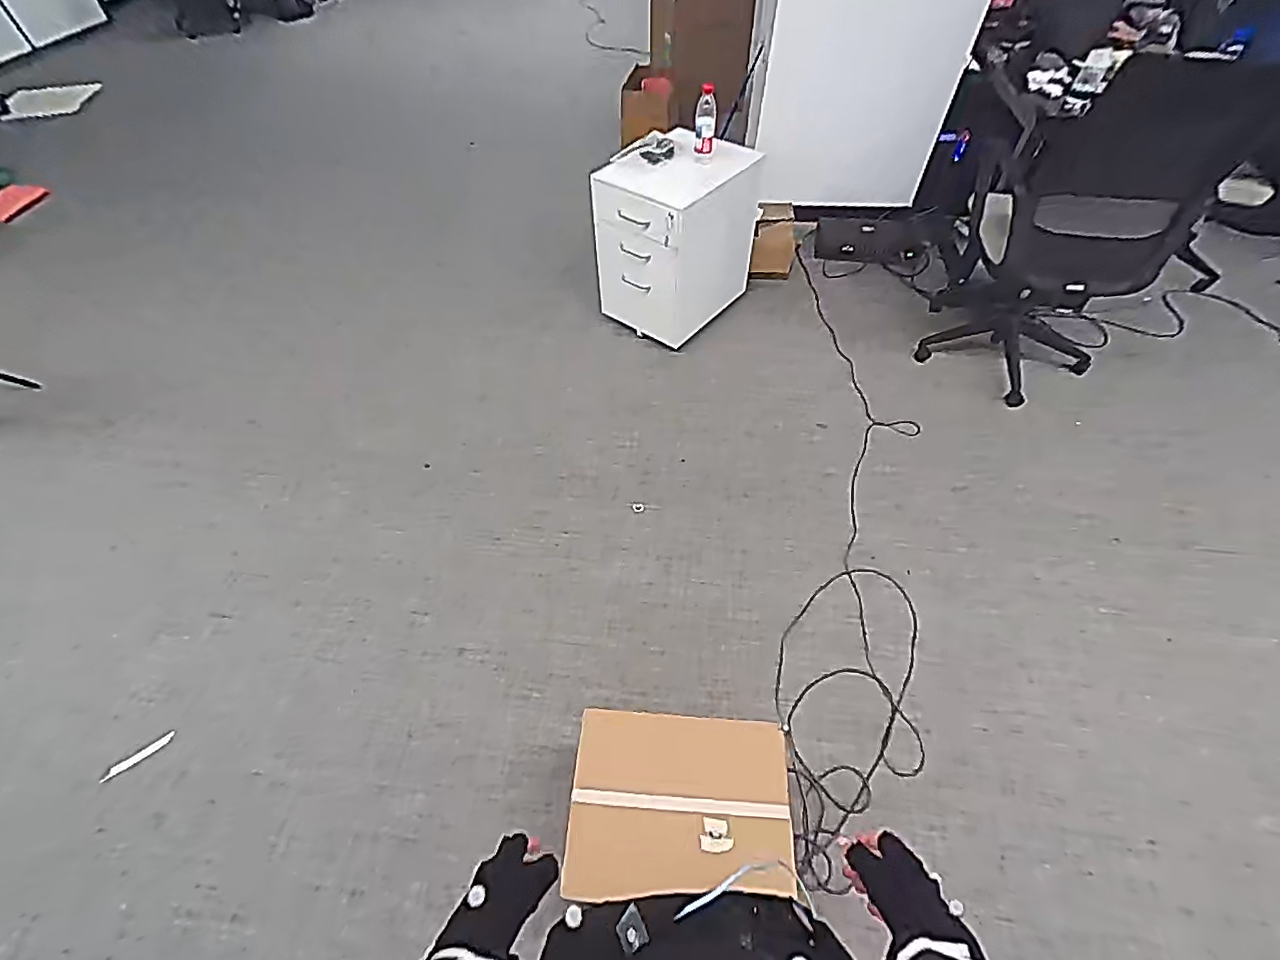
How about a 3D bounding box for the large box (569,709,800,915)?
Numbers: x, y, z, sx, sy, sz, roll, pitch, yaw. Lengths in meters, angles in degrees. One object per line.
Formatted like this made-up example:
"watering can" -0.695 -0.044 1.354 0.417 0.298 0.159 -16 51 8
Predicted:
"large box" 0.083 0.695 1.126 0.408 0.320 0.320 3 52 3
